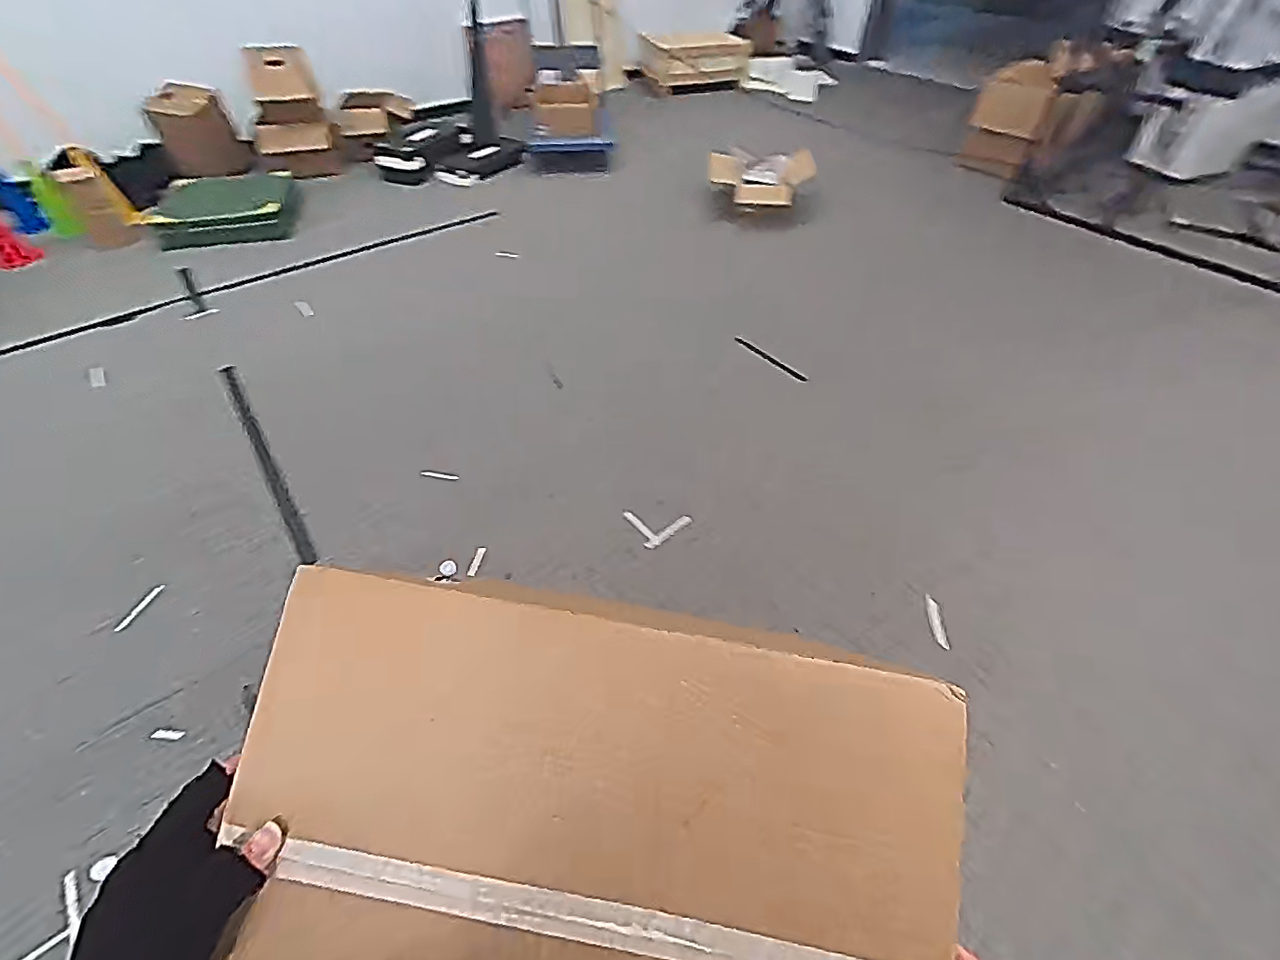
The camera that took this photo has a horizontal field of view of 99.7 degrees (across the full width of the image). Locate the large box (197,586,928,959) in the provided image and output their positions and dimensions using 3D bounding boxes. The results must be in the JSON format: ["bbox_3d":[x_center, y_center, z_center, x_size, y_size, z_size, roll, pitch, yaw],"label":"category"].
[{"bbox_3d":[-0.041,0.271,0.451,0.408,0.320,0.320,8,80,4],"label":"large box"}]
